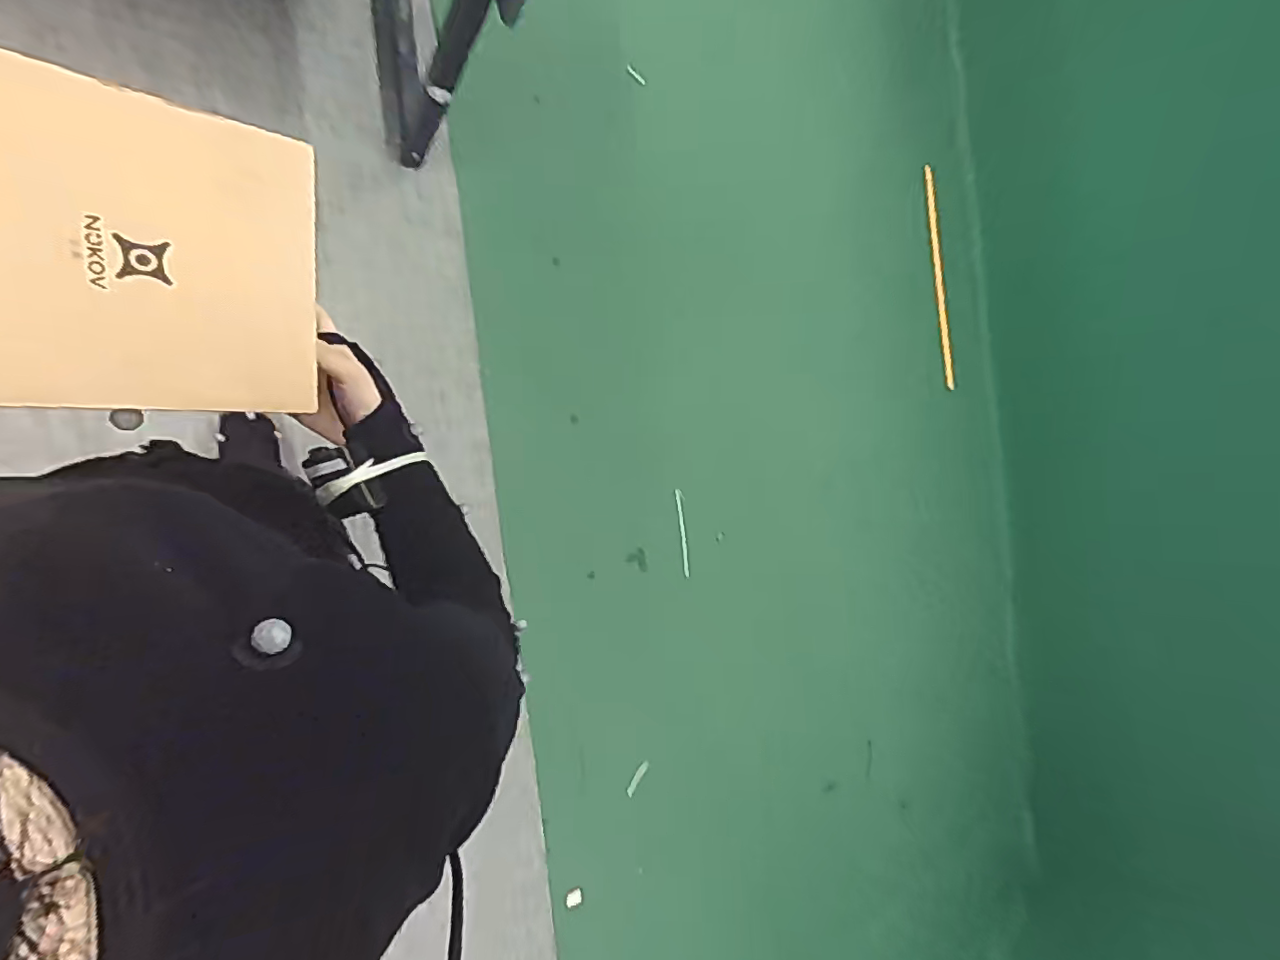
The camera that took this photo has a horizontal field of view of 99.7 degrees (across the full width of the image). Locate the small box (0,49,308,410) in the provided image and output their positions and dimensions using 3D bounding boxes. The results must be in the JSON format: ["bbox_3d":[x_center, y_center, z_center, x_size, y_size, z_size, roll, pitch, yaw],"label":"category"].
[{"bbox_3d":[-0.334,-0.142,0.347,0.179,0.176,0.168,-4,107,-43],"label":"small box"}]
